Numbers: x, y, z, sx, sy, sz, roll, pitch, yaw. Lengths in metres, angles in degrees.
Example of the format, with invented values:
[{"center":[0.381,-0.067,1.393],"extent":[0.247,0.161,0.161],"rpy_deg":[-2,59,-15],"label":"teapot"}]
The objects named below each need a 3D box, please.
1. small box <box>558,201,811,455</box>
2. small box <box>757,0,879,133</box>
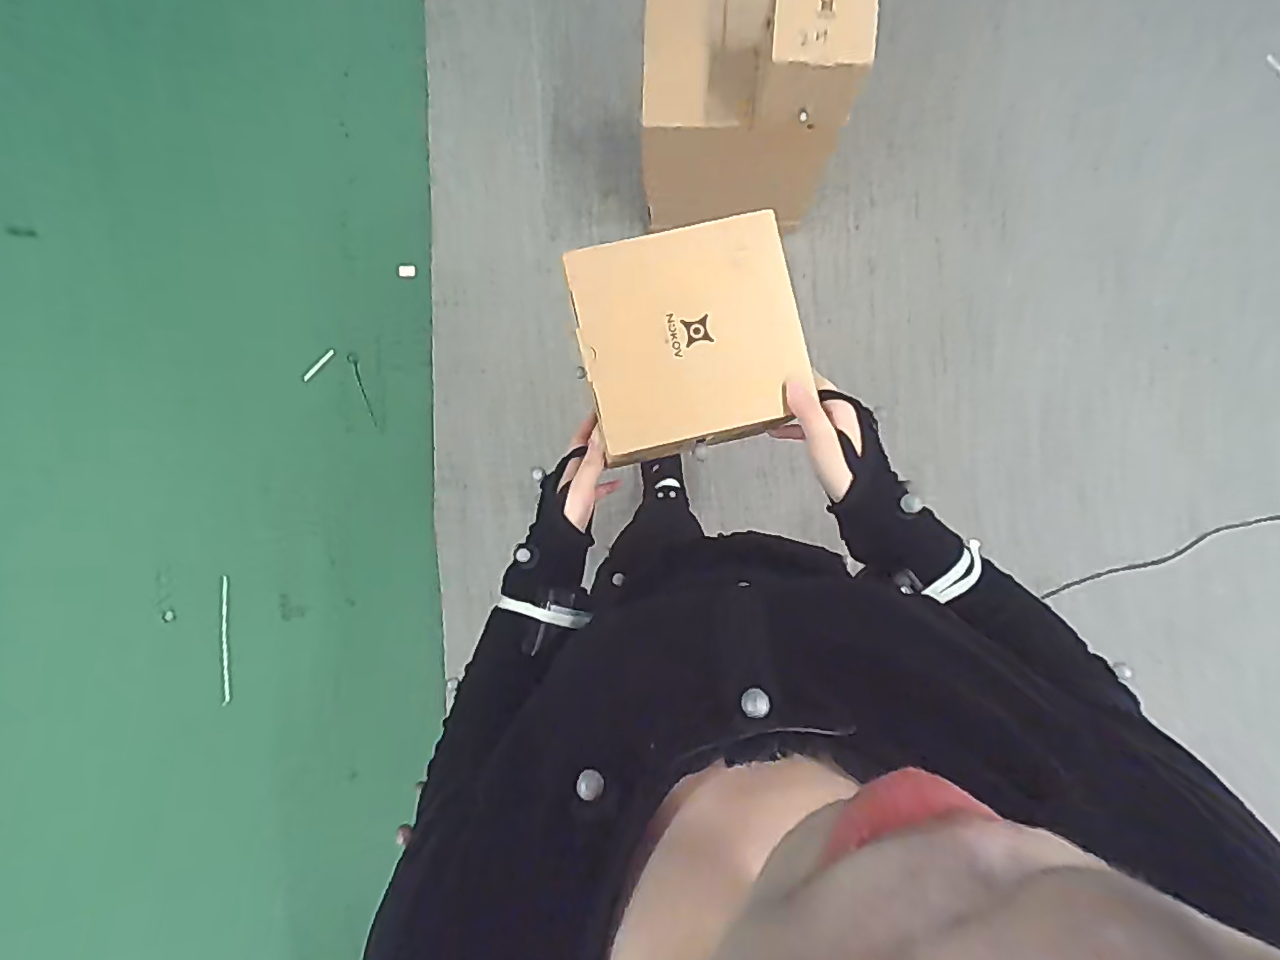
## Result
[{"center":[0.033,-0.124,0.505],"extent":[0.179,0.176,0.168],"rpy_deg":[-13,88,-2],"label":"small box"},{"center":[0.304,-0.754,0.949],"extent":[0.168,0.176,0.179],"rpy_deg":[5,88,4],"label":"small box"}]
